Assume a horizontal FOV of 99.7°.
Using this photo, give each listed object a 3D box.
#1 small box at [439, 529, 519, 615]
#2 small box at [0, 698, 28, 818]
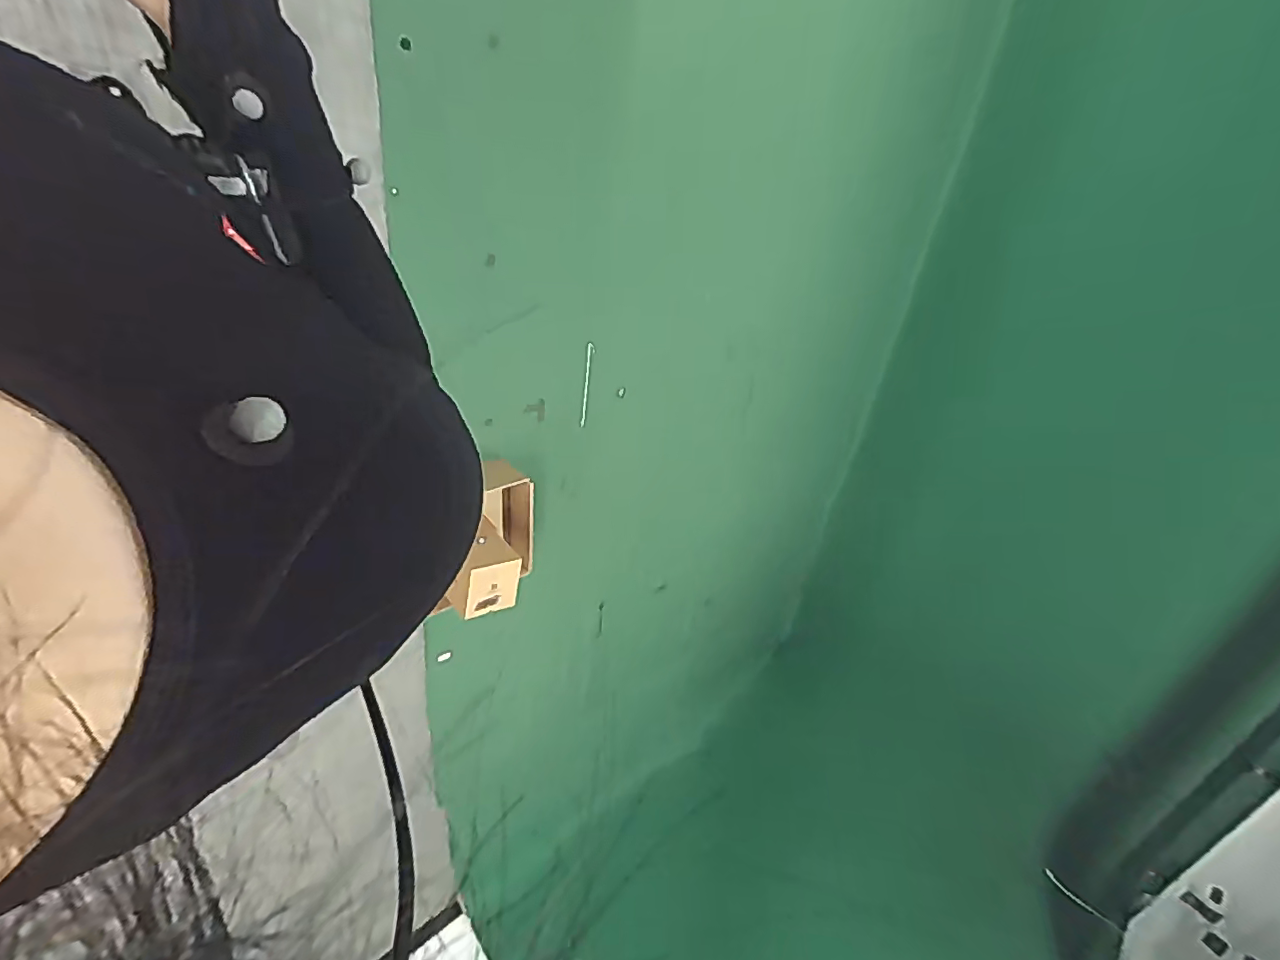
[{"bbox_3d":[-0.490,0.271,1.624,0.168,0.176,0.179,-8,121,-43],"label":"small box"},{"bbox_3d":[-1.285,0.540,0.999,0.179,0.176,0.168,-15,125,-40],"label":"small box"}]
